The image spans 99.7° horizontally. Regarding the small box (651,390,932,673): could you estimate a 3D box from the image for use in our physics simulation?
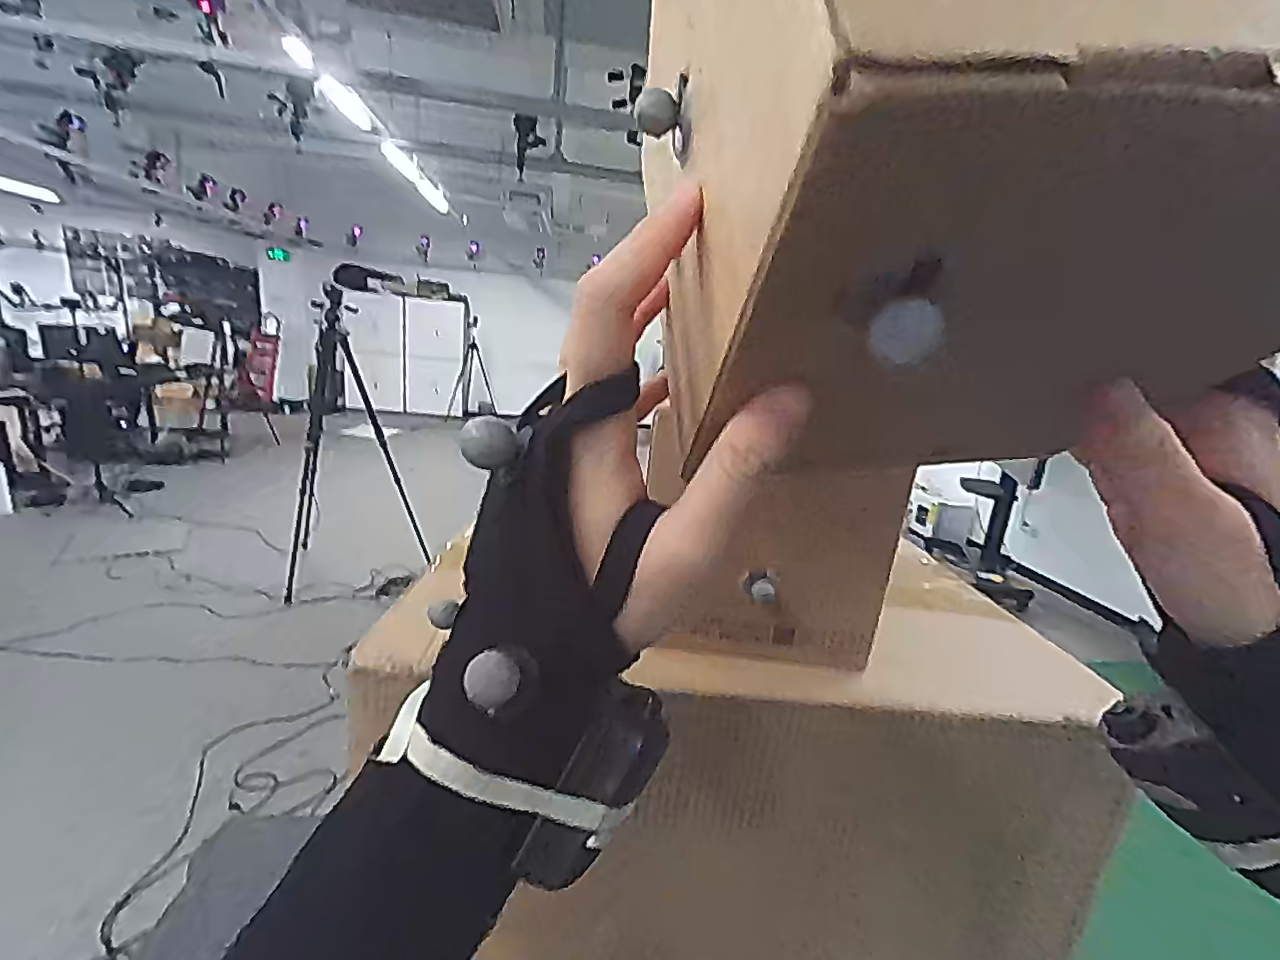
[{"bbox_3d":[0.101,0.028,0.443,0.168,0.176,0.179,6,16,2],"label":"small box"}]
